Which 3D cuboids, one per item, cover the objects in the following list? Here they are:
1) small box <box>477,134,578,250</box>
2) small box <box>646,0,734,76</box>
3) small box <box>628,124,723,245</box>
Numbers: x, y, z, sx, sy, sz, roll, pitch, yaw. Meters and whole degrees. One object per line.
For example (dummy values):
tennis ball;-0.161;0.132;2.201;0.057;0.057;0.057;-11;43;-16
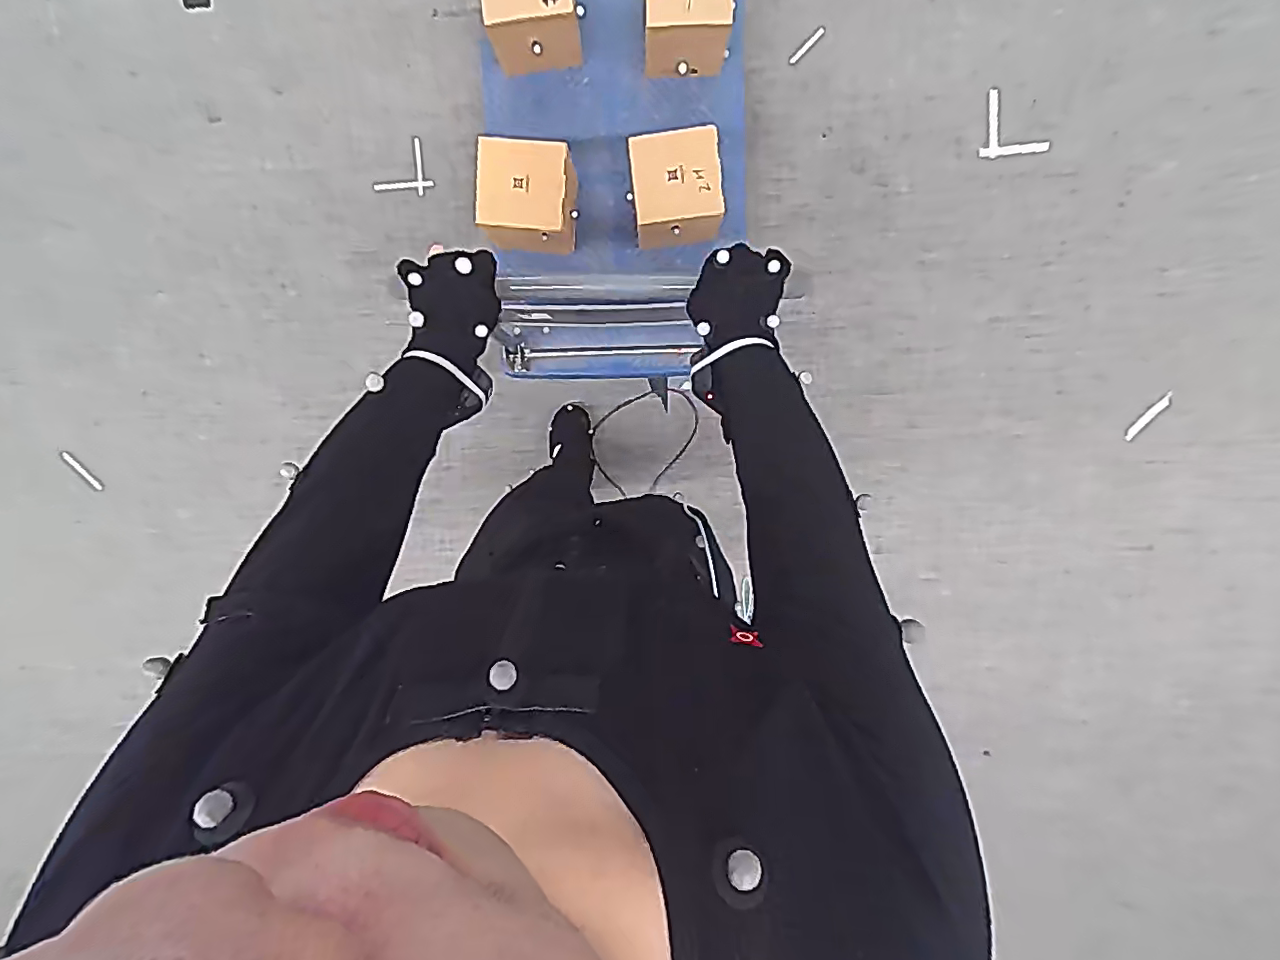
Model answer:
small box;-0.233;-0.602;1.149;0.179;0.176;0.168;4;97;-1
small box;0.096;-0.963;1.095;0.168;0.176;0.179;-1;98;1
small box;0.074;-0.611;1.141;0.179;0.176;0.168;-6;97;2
